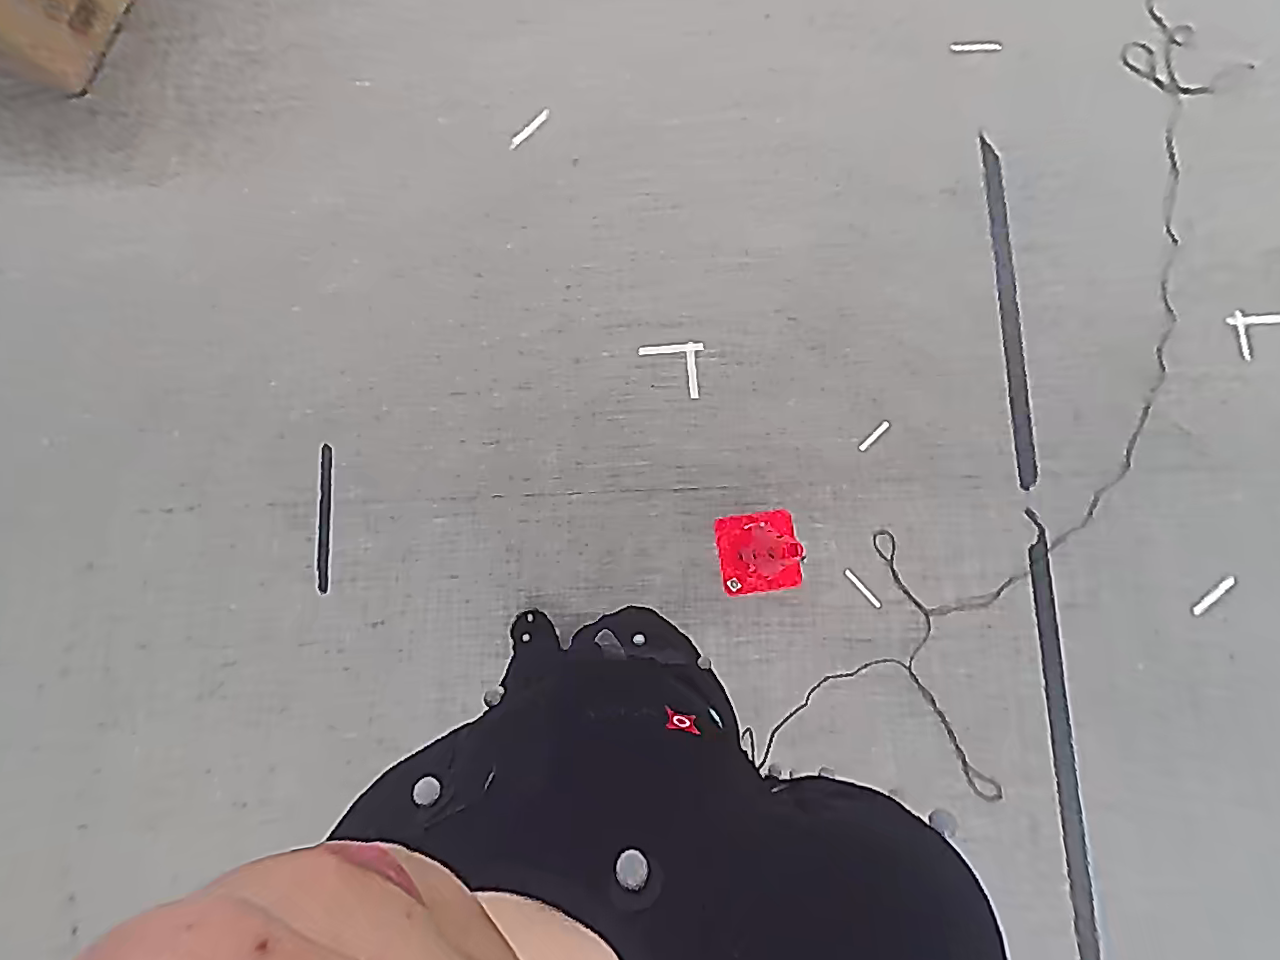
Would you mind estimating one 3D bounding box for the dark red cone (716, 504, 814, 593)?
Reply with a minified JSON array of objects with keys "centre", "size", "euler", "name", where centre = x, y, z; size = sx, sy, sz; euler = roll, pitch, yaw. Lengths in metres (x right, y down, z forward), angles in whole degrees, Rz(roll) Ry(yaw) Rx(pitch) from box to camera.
[{"centre":[0.297,0.144,1.169],"size":[0.201,0.394,0.202],"euler":[-9,81,-1],"name":"dark red cone"}]
